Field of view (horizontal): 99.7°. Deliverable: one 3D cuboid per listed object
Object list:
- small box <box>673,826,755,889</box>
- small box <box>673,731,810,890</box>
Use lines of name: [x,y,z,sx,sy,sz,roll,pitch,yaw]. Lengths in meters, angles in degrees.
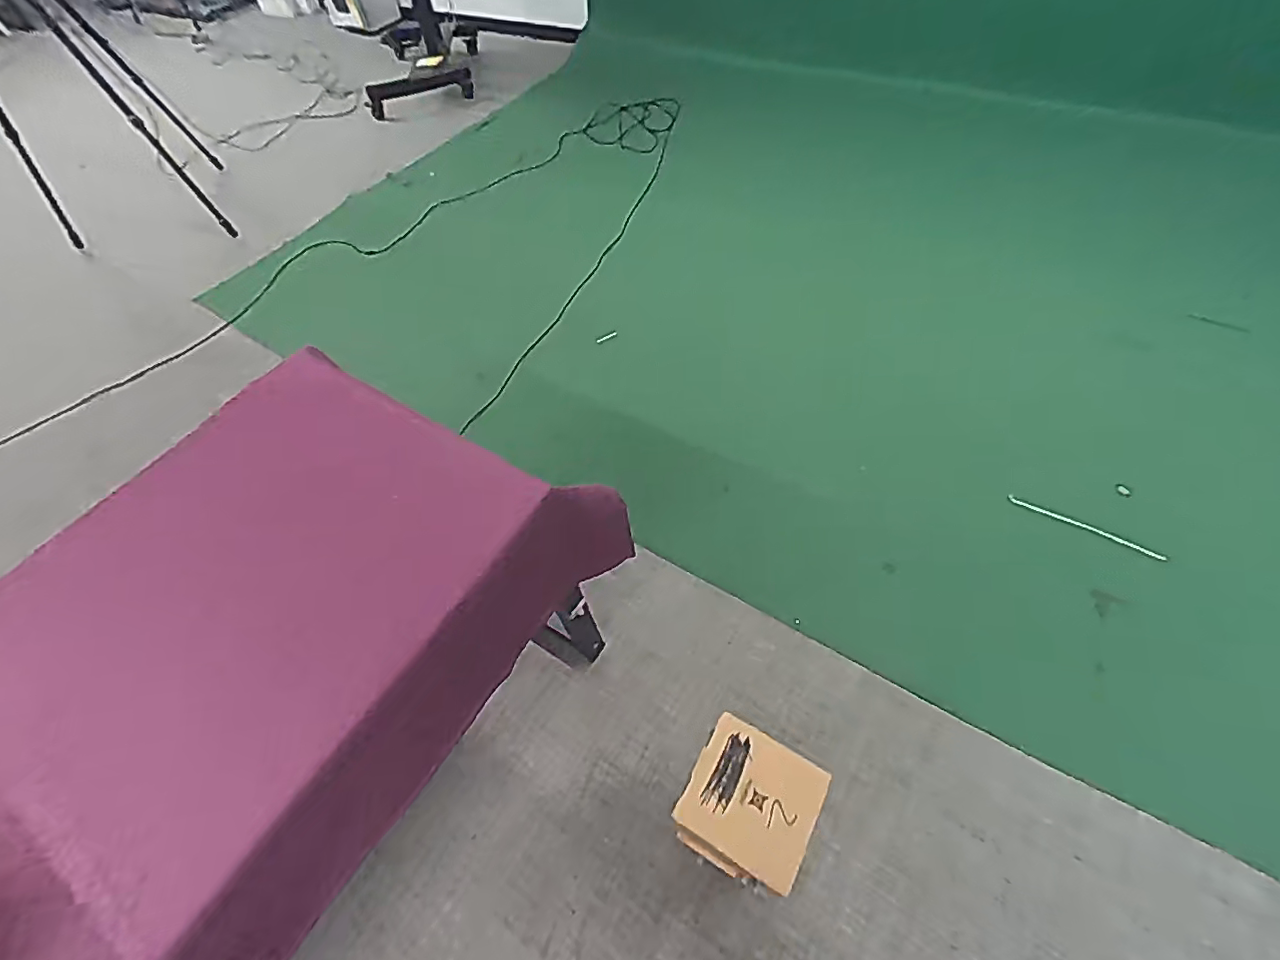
small box: [0.182,0.680,1.091,0.168,0.176,0.179,24,61,19]
small box: [0.174,0.582,0.961,0.179,0.176,0.168,26,60,21]
